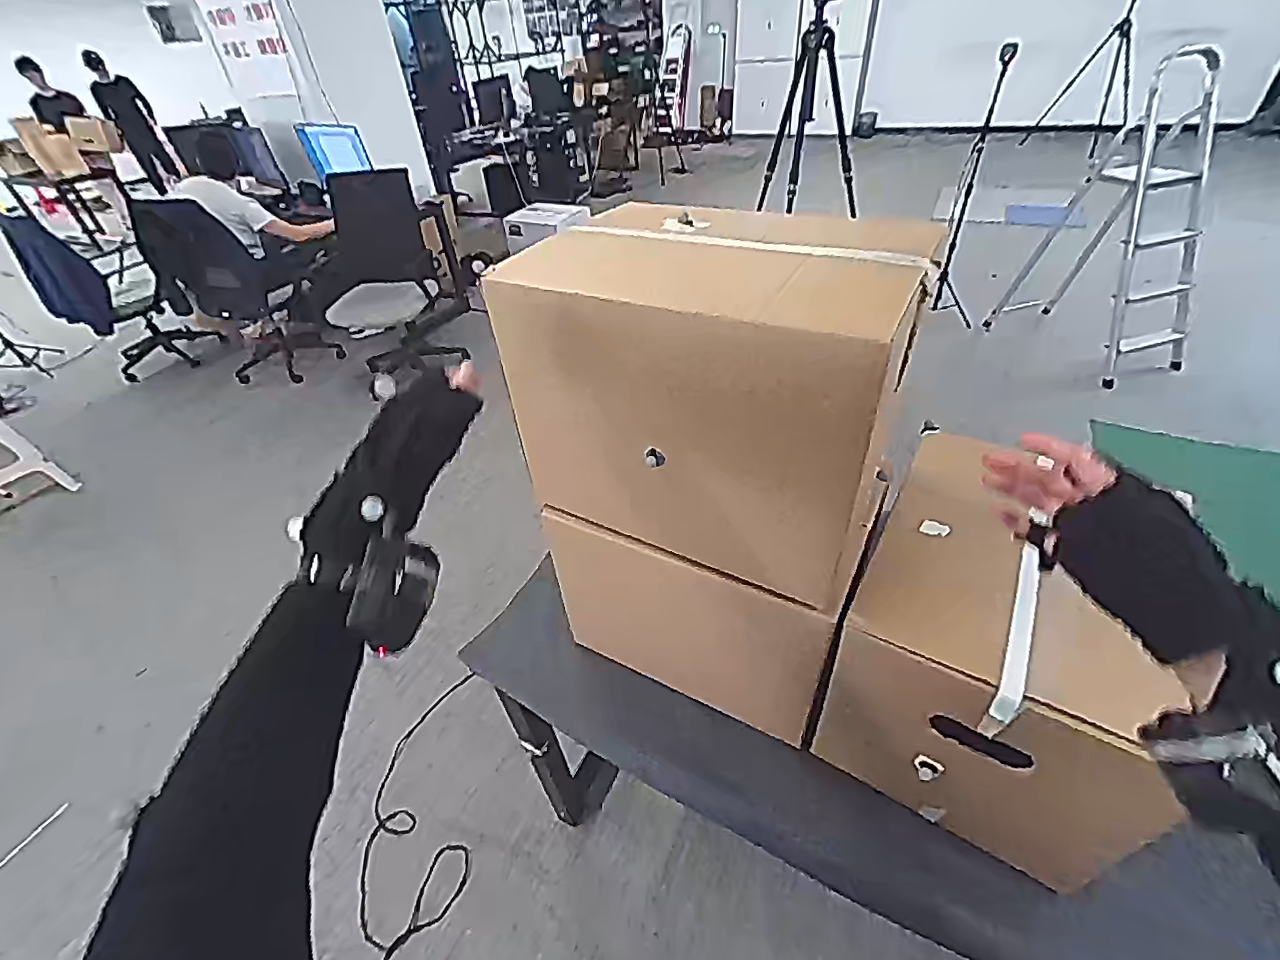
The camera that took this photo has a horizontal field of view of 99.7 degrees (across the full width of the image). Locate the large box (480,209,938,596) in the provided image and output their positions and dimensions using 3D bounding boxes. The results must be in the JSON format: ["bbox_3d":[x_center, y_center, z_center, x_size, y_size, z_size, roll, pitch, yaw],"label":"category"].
[{"bbox_3d":[0.093,-0.120,0.664,0.408,0.320,0.320,17,44,26],"label":"large box"}]
